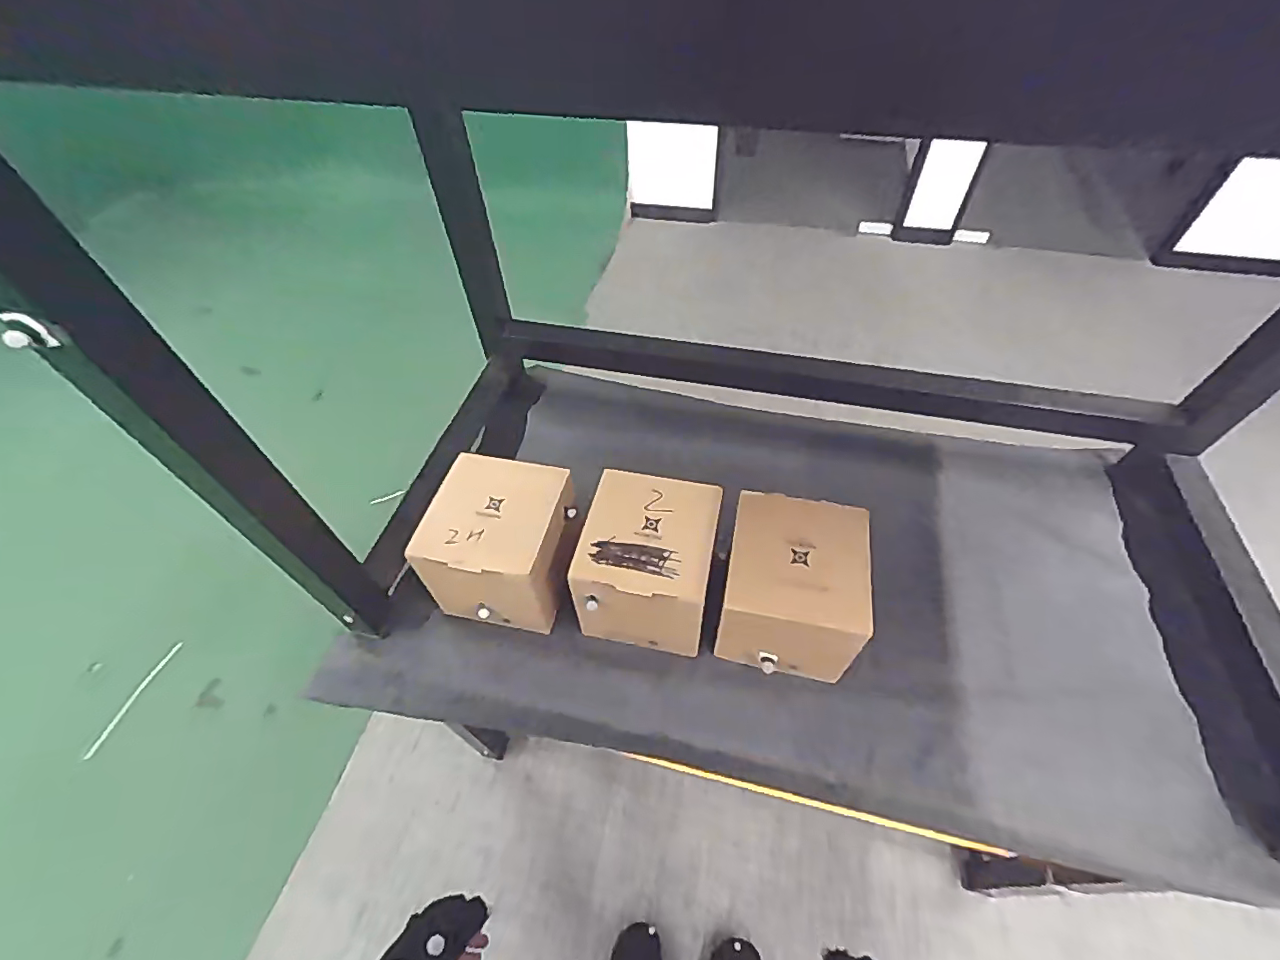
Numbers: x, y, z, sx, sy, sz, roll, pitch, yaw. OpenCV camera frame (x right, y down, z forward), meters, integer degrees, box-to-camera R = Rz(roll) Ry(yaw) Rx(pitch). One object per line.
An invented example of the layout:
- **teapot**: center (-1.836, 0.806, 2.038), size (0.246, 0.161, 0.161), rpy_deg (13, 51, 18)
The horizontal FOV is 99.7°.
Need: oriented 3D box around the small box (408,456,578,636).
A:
- **small box**: center (-0.190, 0.094, 0.768), size (0.168, 0.176, 0.179), rpy_deg (9, 52, 9)
